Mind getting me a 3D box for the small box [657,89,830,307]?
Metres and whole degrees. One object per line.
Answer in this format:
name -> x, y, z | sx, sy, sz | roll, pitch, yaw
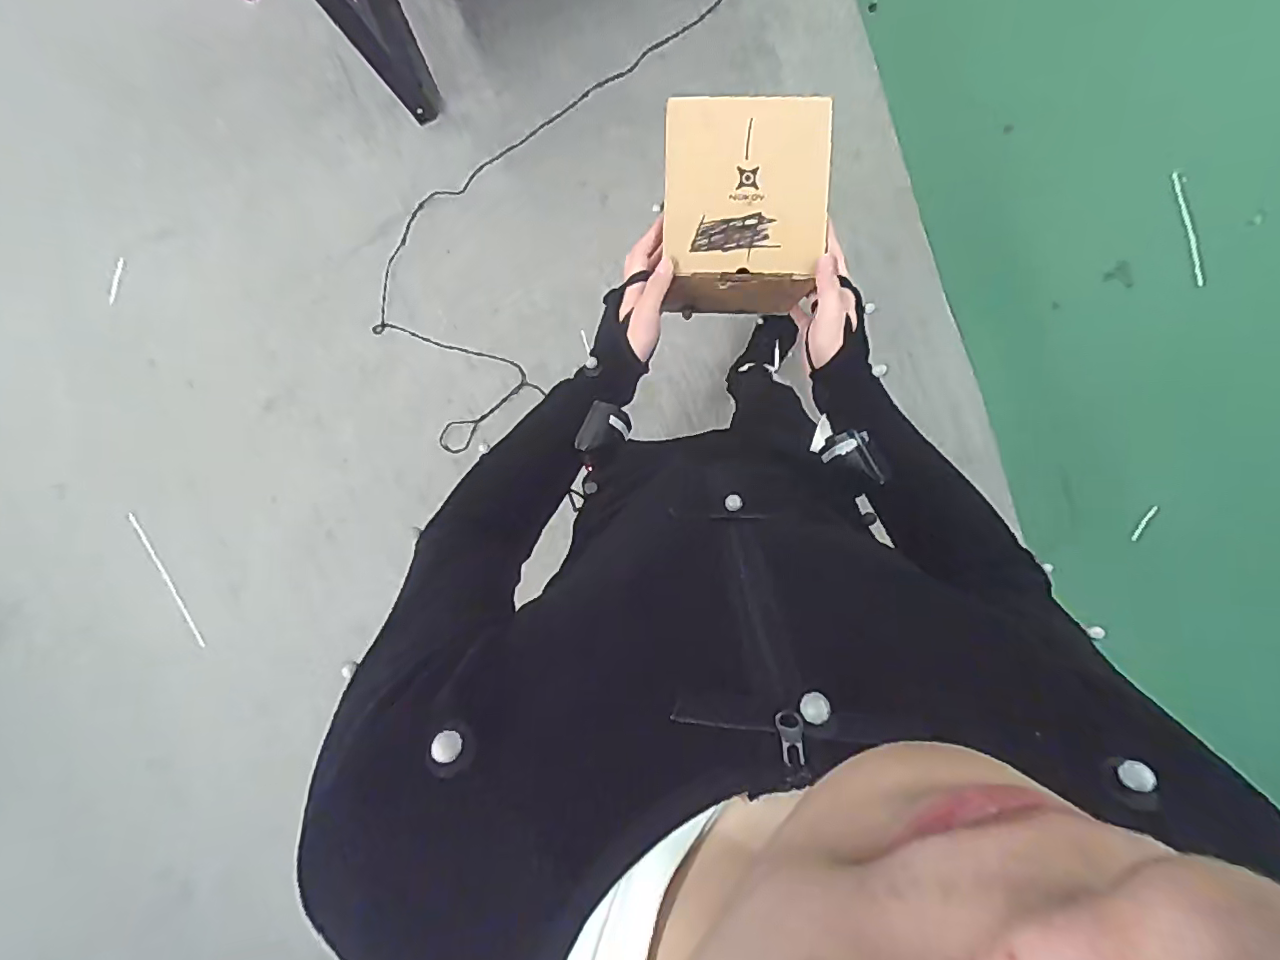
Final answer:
small box -> 0.106, -0.304, 0.617 | 0.168, 0.176, 0.179 | 1, 94, 2
